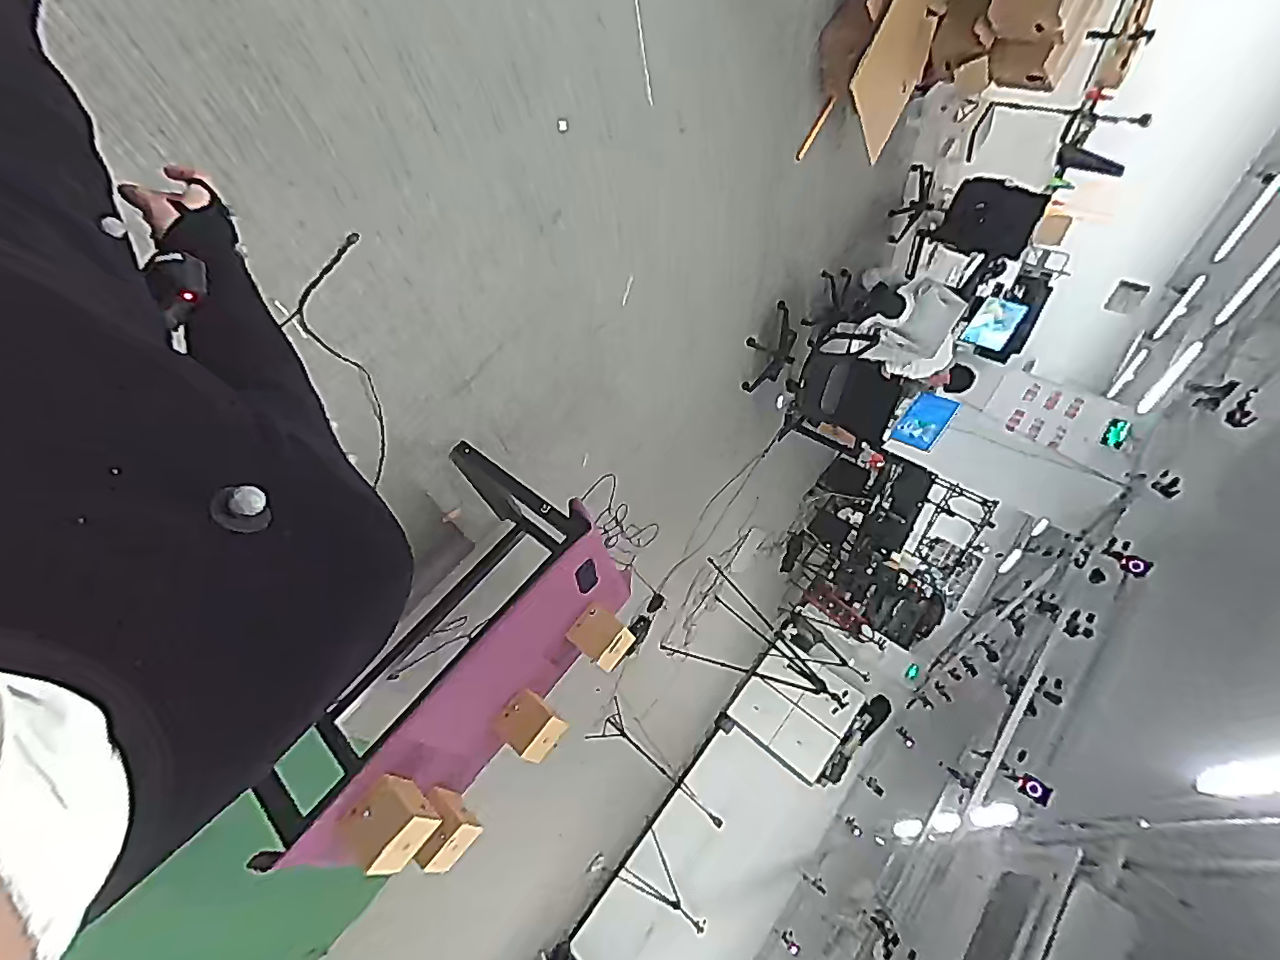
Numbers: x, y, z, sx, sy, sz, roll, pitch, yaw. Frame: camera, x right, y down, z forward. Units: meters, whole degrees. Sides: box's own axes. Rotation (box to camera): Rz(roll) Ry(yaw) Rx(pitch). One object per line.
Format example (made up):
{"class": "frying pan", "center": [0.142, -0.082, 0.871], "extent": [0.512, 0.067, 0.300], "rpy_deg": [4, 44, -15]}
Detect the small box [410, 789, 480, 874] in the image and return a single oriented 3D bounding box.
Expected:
{"class": "small box", "center": [-0.664, 1.149, 1.772], "extent": [0.168, 0.176, 0.179], "rpy_deg": [-47, 150, -22]}

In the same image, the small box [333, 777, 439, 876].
{"class": "small box", "center": [-0.709, 0.968, 1.515], "extent": [0.168, 0.176, 0.179], "rpy_deg": [-48, 150, -22]}

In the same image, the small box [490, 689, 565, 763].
{"class": "small box", "center": [-0.400, 0.875, 1.928], "extent": [0.168, 0.176, 0.179], "rpy_deg": [-49, 150, -19]}

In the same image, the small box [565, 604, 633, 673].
{"class": "small box", "center": [-0.157, 0.591, 2.033], "extent": [0.168, 0.176, 0.179], "rpy_deg": [-49, 151, -16]}
